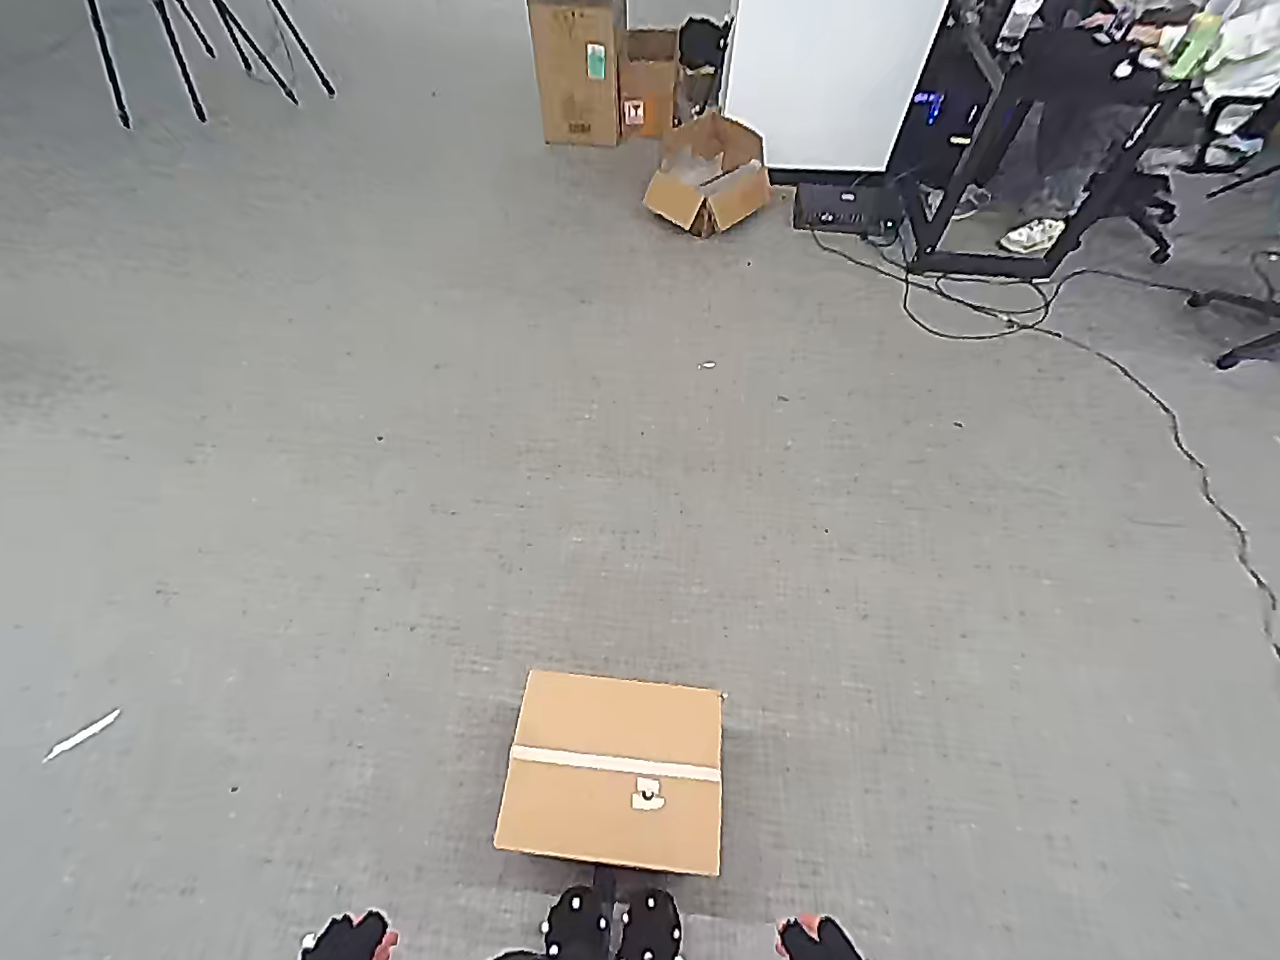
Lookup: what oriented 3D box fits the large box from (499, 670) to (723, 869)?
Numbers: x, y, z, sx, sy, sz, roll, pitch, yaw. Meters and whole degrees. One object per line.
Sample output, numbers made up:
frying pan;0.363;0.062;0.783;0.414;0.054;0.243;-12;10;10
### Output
large box;-0.047;0.621;1.159;0.408;0.320;0.320;6;57;2
